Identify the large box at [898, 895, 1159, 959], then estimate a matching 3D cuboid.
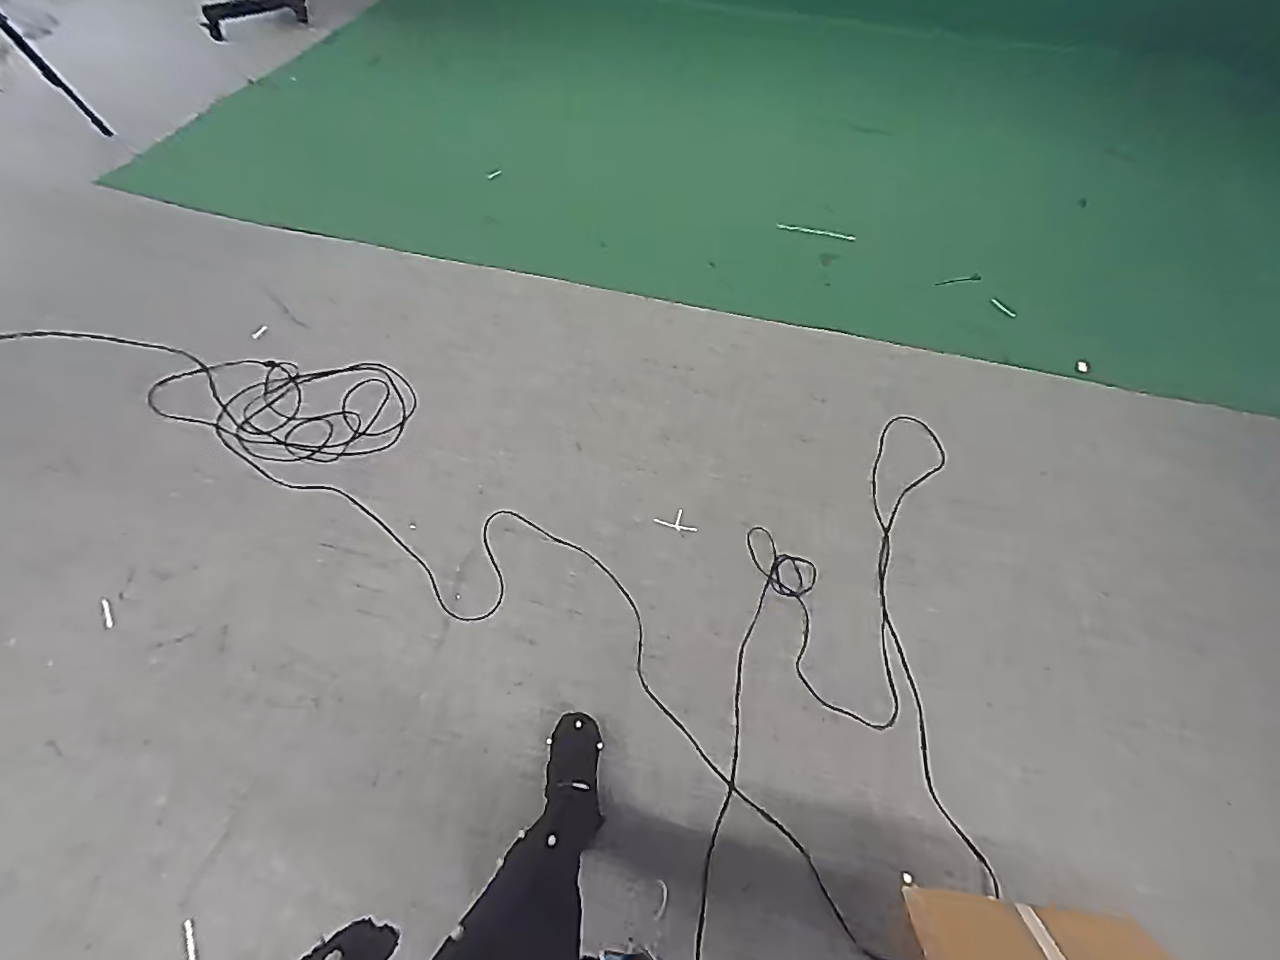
[{"bbox_3d":[0.484,0.758,0.568,0.320,0.408,0.320,3,88,13],"label":"large box"}]
